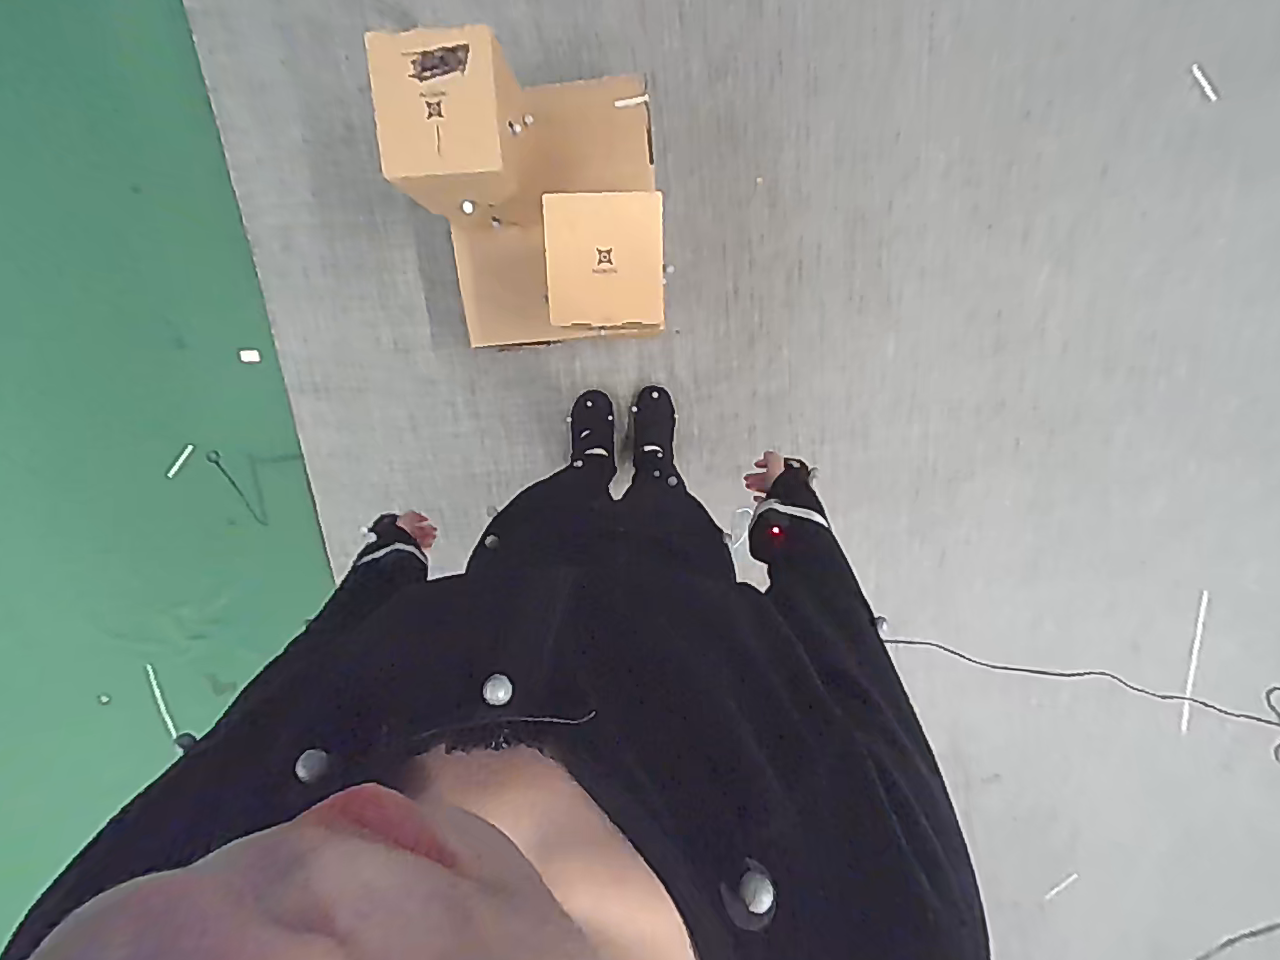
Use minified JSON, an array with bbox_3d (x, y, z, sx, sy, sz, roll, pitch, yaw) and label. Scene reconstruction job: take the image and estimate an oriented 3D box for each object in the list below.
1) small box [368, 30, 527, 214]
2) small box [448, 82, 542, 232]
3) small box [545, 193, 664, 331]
[{"bbox_3d":[-0.269,-0.510,0.794,0.168,0.176,0.179,-3,102,2],"label":"small box"},{"bbox_3d":[-0.276,-0.558,0.953,0.168,0.176,0.179,-5,101,2],"label":"small box"},{"bbox_3d":[-0.051,-0.326,0.838,0.168,0.176,0.179,-2,104,-1],"label":"small box"}]
